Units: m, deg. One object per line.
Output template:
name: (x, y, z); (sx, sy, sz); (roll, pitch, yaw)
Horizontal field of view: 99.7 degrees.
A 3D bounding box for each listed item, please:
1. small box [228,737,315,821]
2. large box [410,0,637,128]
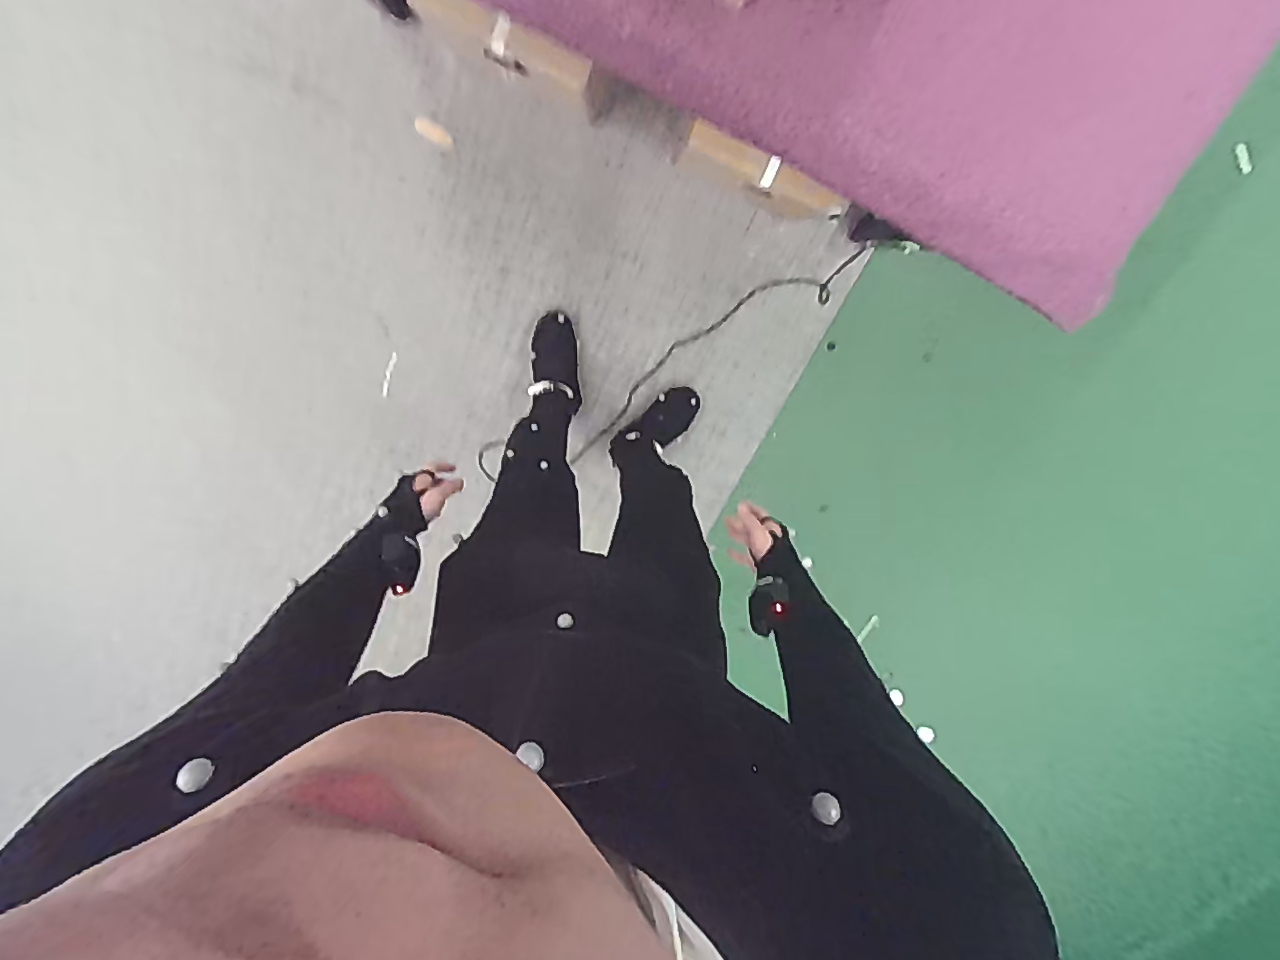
small box: (-1.238, 1.000, 1.821); (0.179, 0.176, 0.168); (18, 112, -9)
large box: (-0.163, -0.939, 0.968); (0.320, 0.320, 0.408); (21, 111, -11)
